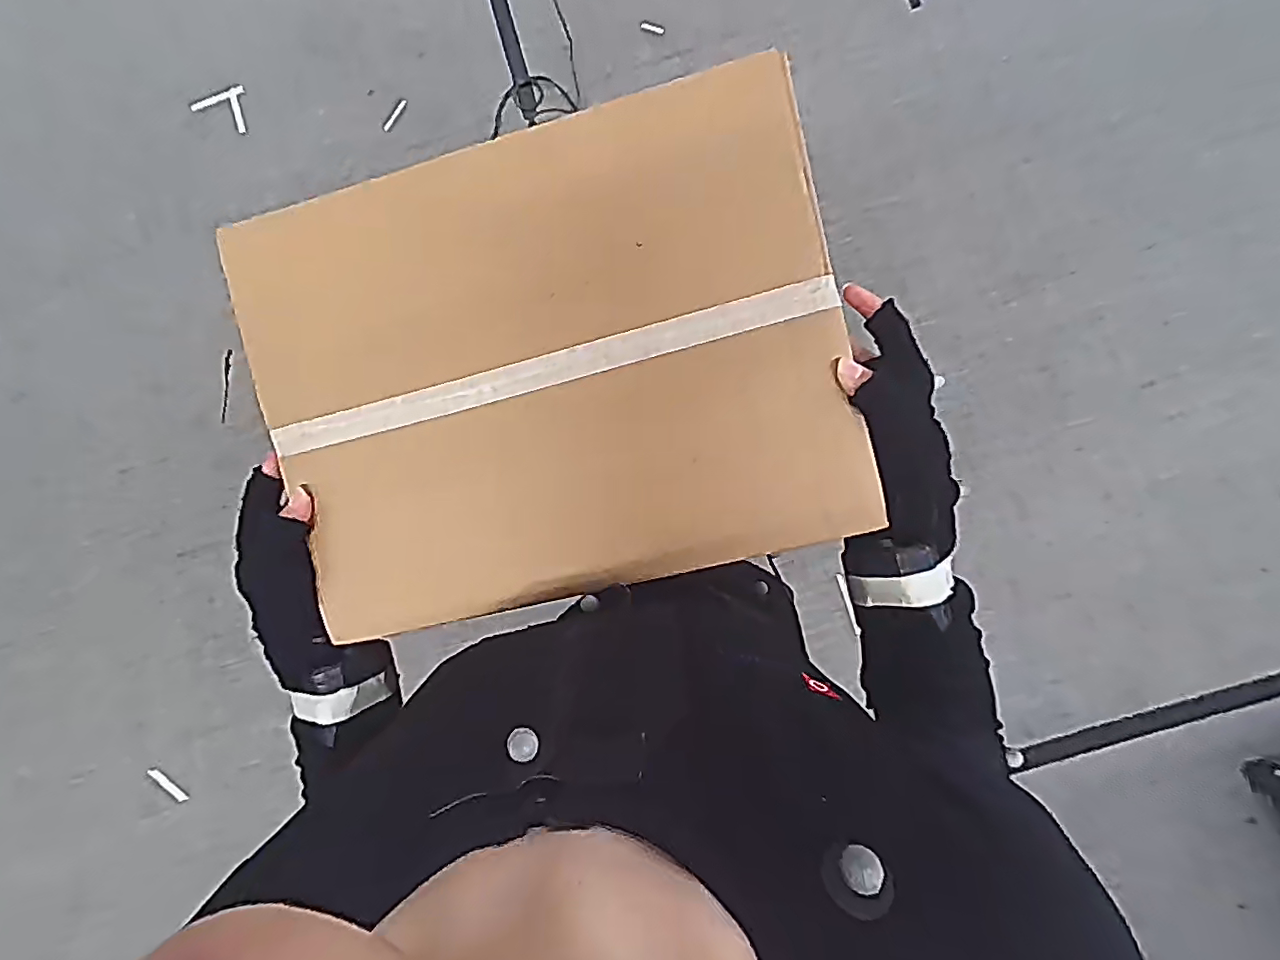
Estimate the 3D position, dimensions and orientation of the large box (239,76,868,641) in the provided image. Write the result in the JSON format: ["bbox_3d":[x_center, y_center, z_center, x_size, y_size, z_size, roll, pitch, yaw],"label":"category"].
[{"bbox_3d":[-0.054,-0.083,0.530,0.408,0.320,0.320,-13,92,7],"label":"large box"}]
